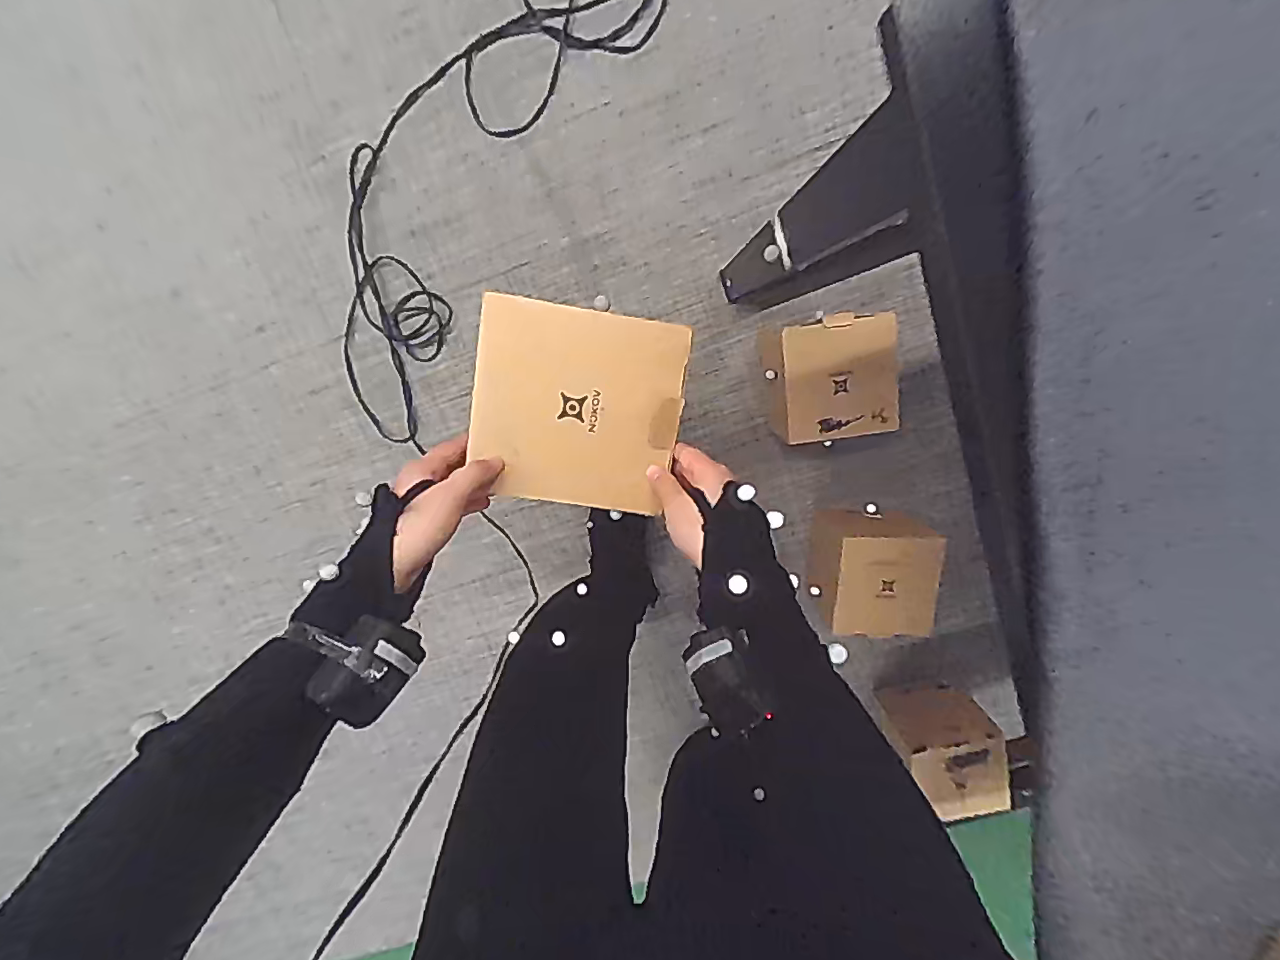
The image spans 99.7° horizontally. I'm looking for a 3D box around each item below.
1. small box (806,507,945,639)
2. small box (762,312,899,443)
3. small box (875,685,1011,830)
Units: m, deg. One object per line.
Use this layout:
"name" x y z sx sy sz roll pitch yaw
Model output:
"small box" 0.399 0.157 0.947 0.168 0.176 0.179 1 103 0
"small box" 0.296 -0.166 0.869 0.168 0.176 0.179 -7 104 3
"small box" 0.568 0.516 1.032 0.168 0.176 0.179 -13 104 5
